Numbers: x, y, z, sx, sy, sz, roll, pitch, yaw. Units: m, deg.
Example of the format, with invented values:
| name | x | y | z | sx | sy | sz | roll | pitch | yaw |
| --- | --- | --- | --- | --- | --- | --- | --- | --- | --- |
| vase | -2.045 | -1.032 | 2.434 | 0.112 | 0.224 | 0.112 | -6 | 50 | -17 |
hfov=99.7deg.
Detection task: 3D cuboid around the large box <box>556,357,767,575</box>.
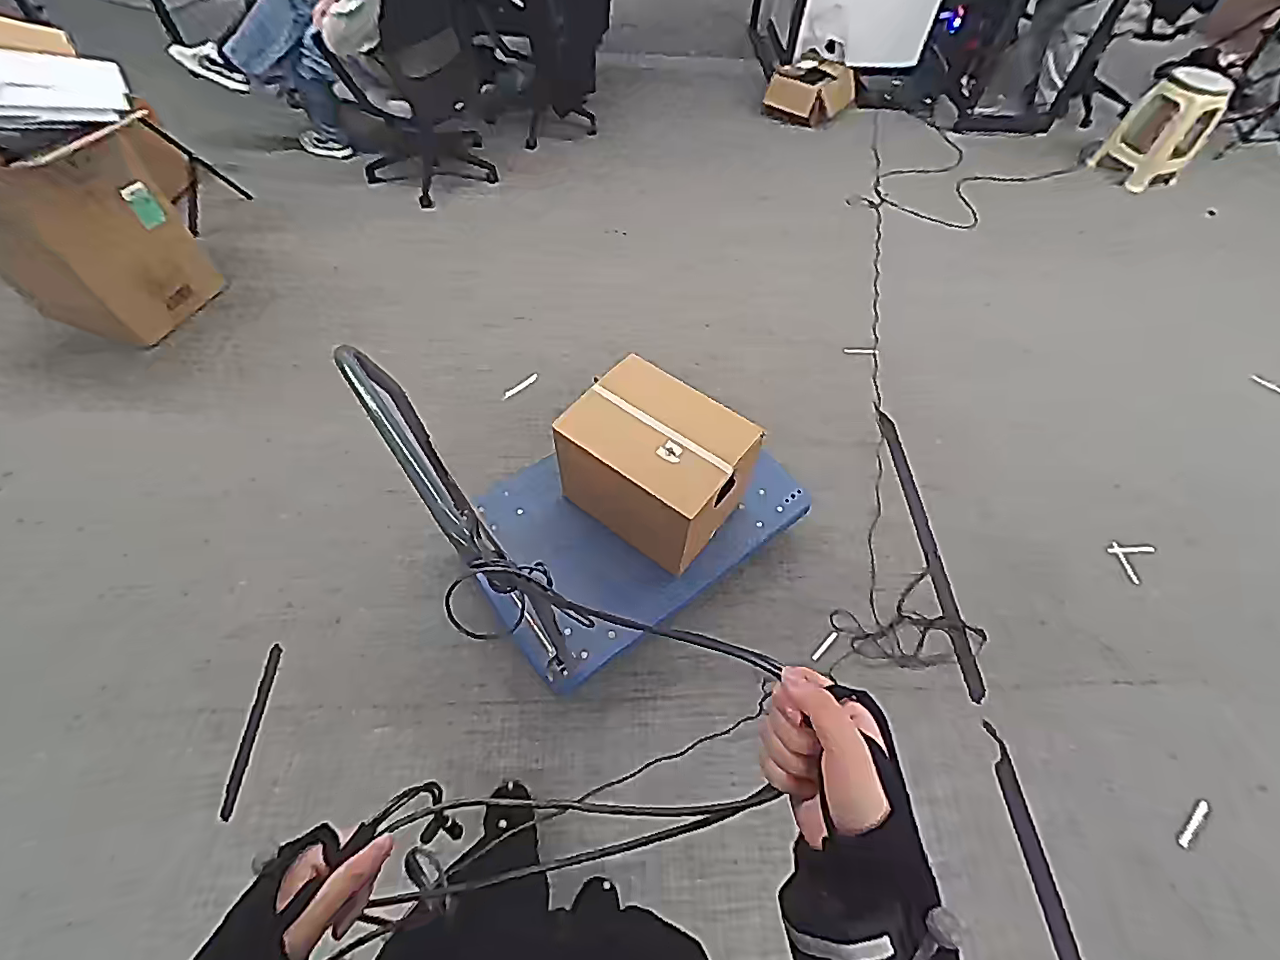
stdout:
| name | x | y | z | sx | sy | sz | roll | pitch | yaw |
| --- | --- | --- | --- | --- | --- | --- | --- | --- | --- |
| large box | 0.042 | -0.034 | 1.379 | 0.408 | 0.320 | 0.320 | 34 | 63 | 17 |
